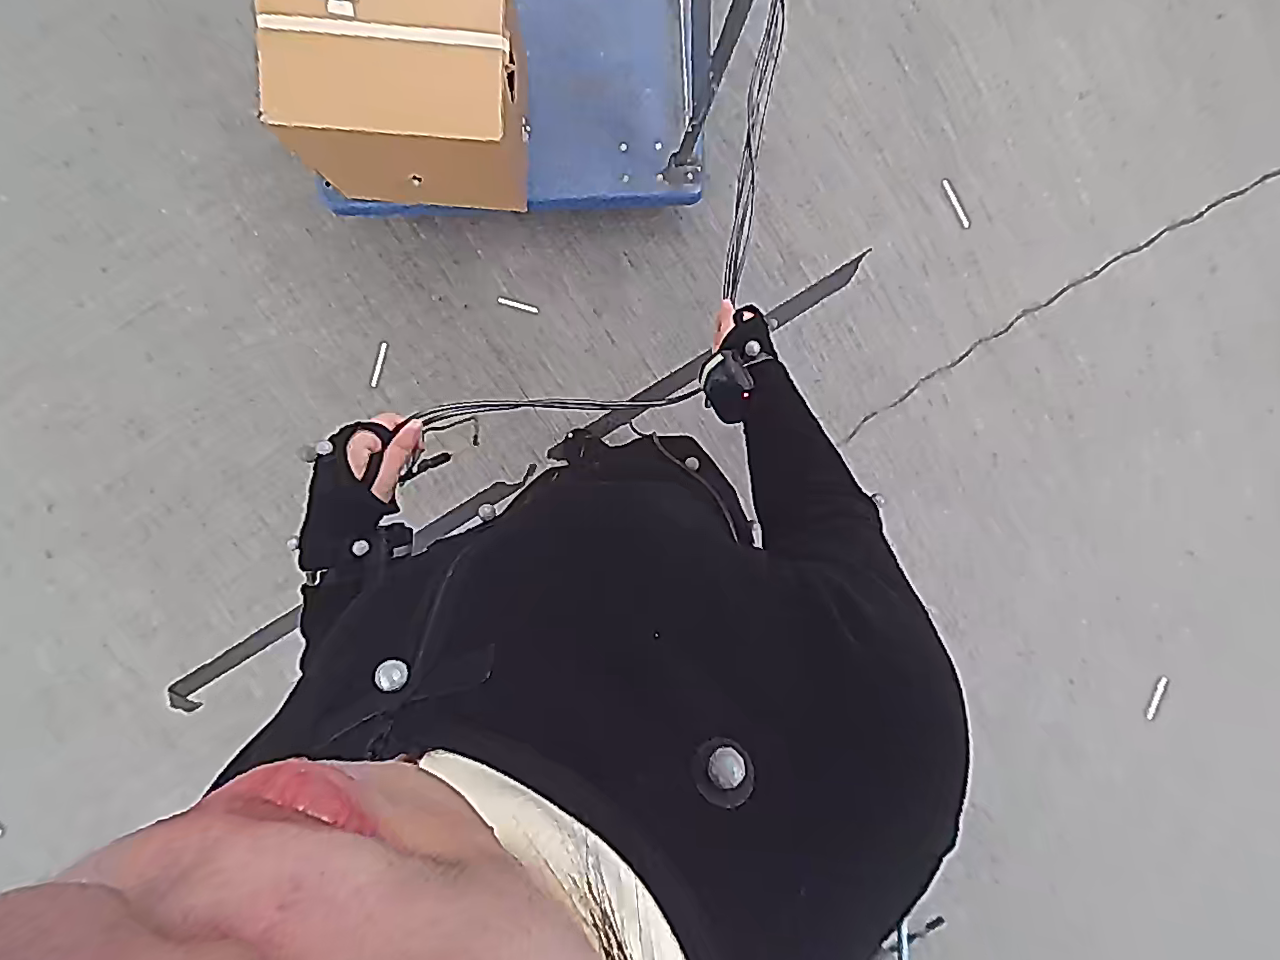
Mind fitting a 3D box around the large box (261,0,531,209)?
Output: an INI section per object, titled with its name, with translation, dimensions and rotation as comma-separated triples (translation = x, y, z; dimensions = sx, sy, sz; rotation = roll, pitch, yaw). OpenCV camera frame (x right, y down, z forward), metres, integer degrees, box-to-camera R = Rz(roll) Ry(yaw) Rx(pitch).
[large box]
translation = -0.434, -0.751, 1.053
dimensions = 0.408, 0.320, 0.320
rotation = 2, 95, -3
